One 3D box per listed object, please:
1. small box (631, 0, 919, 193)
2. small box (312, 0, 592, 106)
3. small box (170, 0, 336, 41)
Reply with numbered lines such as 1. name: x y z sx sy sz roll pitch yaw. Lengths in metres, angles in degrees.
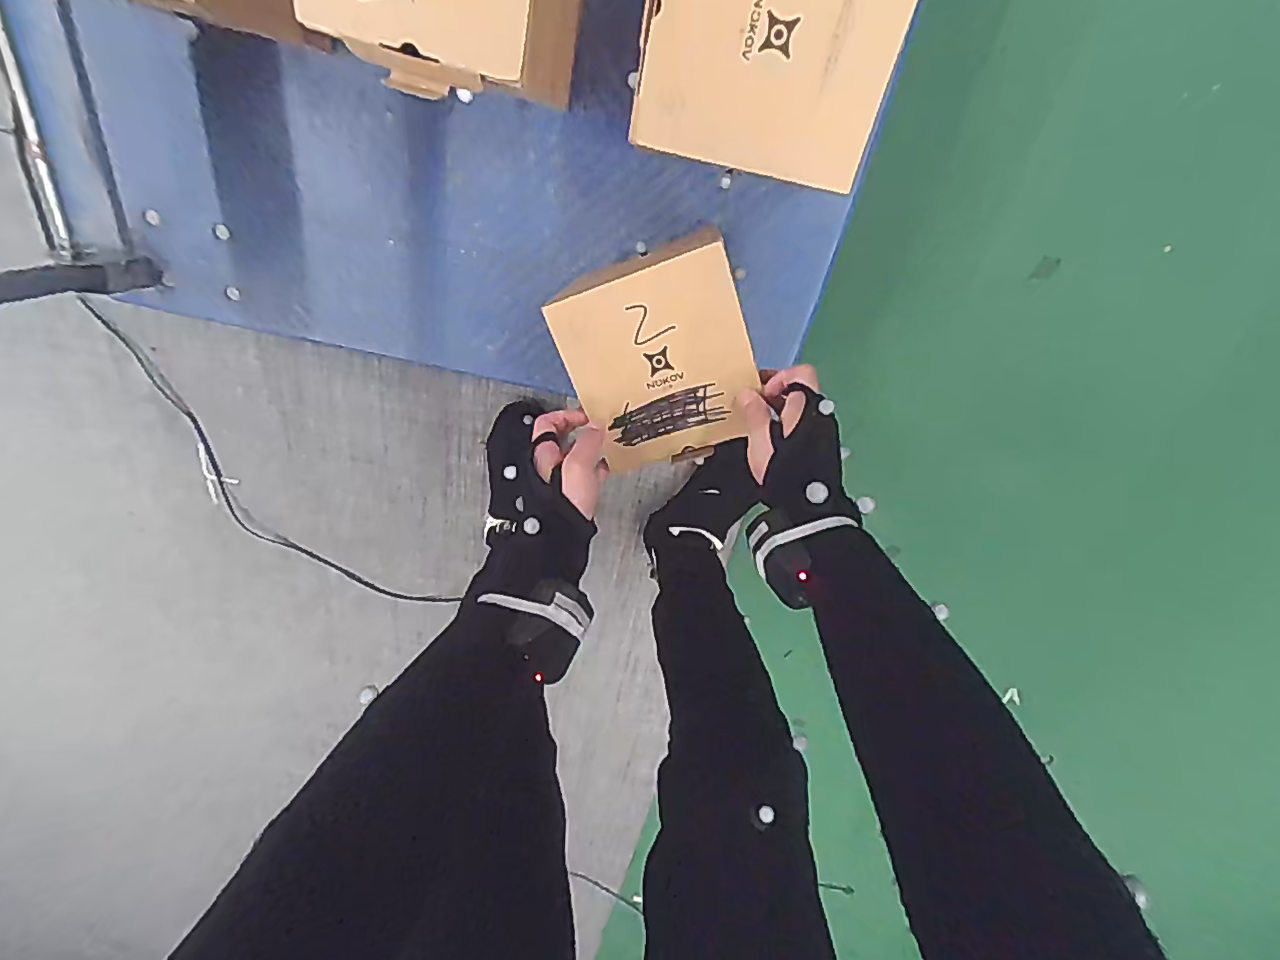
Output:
1. small box: 0.102 -0.348 0.446 0.179 0.176 0.168 14 120 -2
2. small box: -0.130 -0.425 0.425 0.168 0.176 0.179 15 120 -2
3. small box: -0.361 -0.477 0.418 0.168 0.176 0.179 13 120 -2
